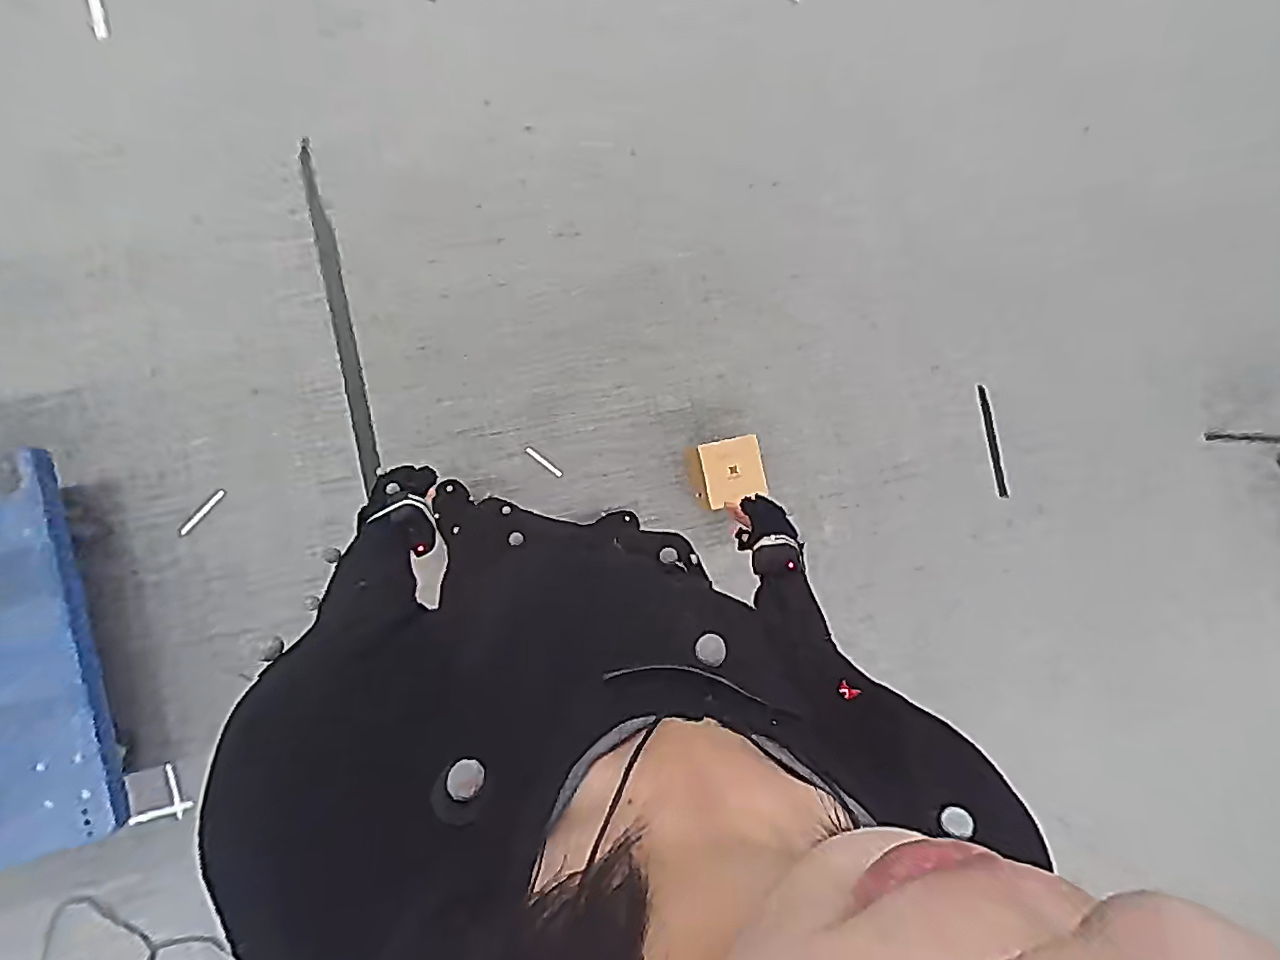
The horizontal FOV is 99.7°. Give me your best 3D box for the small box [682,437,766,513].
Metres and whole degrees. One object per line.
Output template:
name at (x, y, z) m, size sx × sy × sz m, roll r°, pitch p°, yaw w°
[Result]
small box at (0.228, -0.014, 1.501) m, size 0.168 × 0.176 × 0.179 m, roll -13°, pitch 91°, yaw -10°
